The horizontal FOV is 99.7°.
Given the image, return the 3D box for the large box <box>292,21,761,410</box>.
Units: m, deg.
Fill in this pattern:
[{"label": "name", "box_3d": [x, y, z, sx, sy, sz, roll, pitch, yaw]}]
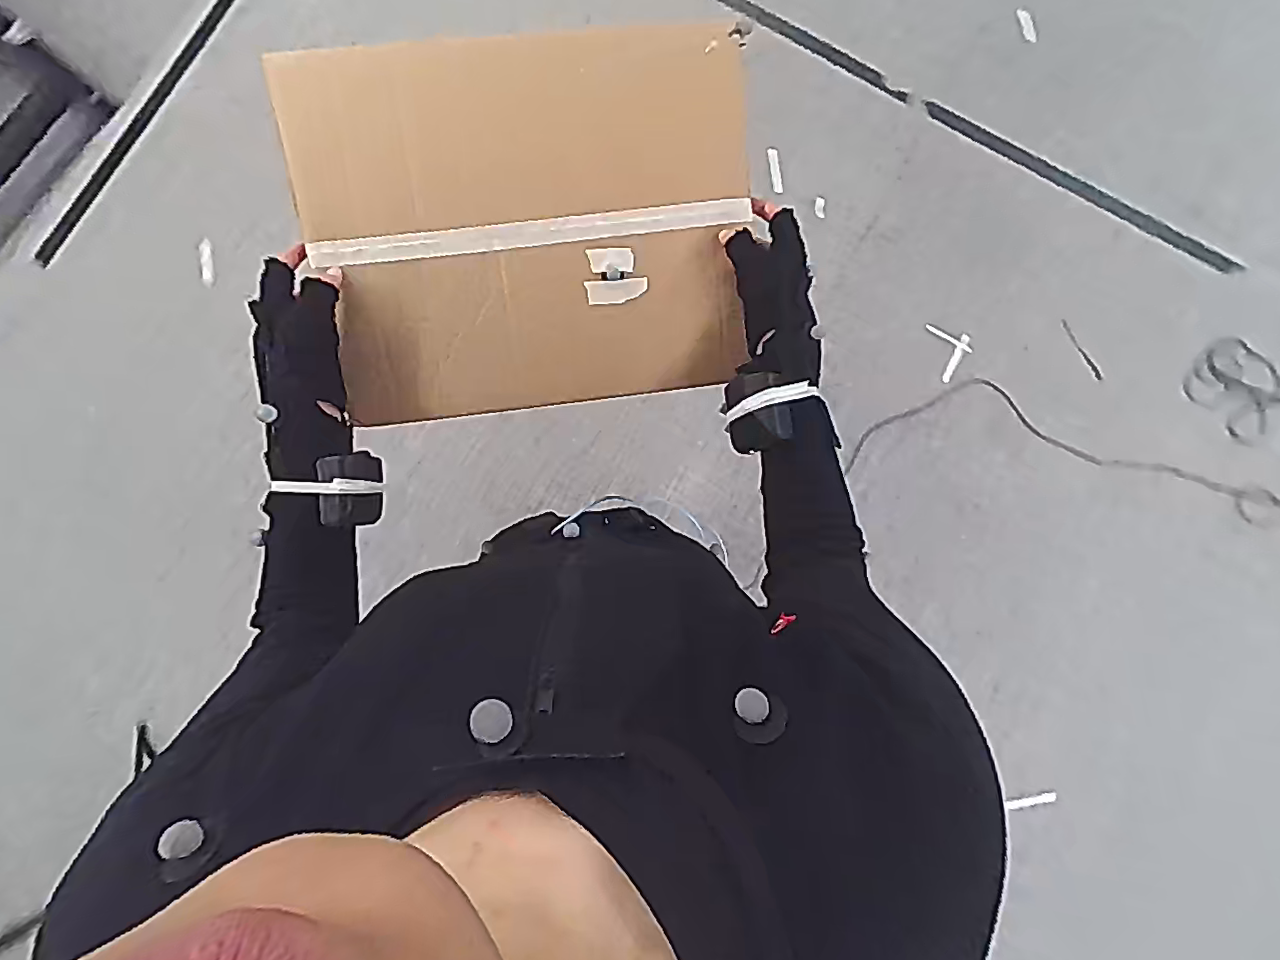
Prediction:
[{"label": "large box", "box_3d": [-0.102, -0.272, 0.650, 0.408, 0.320, 0.320, -6, 104, -4]}]
